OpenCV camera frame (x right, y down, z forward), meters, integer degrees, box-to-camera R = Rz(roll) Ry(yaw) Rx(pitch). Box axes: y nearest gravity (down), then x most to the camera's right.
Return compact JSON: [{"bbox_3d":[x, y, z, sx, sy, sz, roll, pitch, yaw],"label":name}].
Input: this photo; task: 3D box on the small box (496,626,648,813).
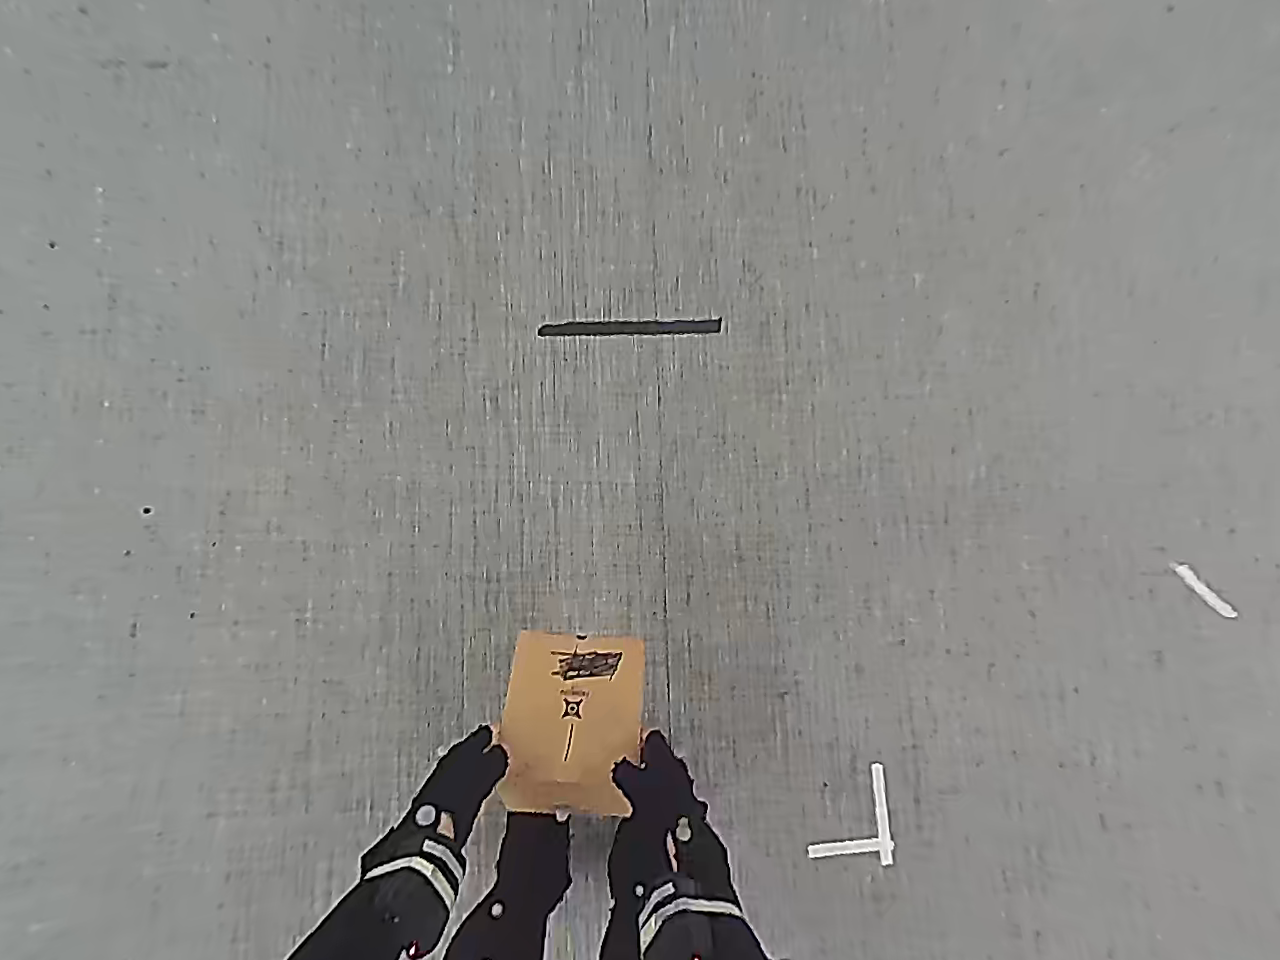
[{"bbox_3d":[-0.082,0.315,0.709,0.168,0.176,0.179,4,48,-2],"label":"small box"}]
